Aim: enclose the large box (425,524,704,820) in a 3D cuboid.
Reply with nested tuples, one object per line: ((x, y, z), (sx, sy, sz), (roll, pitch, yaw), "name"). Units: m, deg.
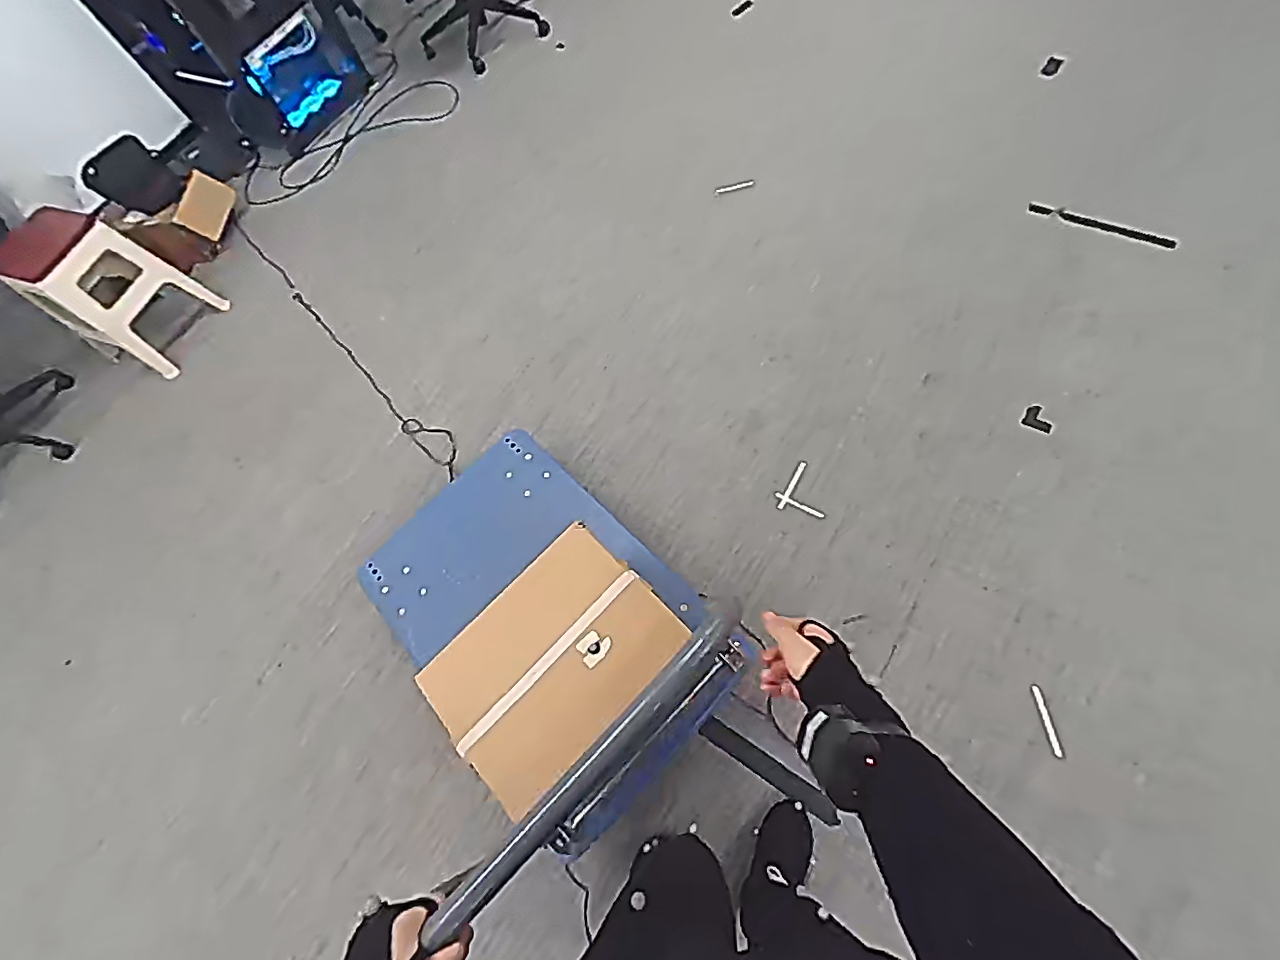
((-0.123, 0.373, 1.074), (0.320, 0.320, 0.408), (40, 78, 23), "large box")
